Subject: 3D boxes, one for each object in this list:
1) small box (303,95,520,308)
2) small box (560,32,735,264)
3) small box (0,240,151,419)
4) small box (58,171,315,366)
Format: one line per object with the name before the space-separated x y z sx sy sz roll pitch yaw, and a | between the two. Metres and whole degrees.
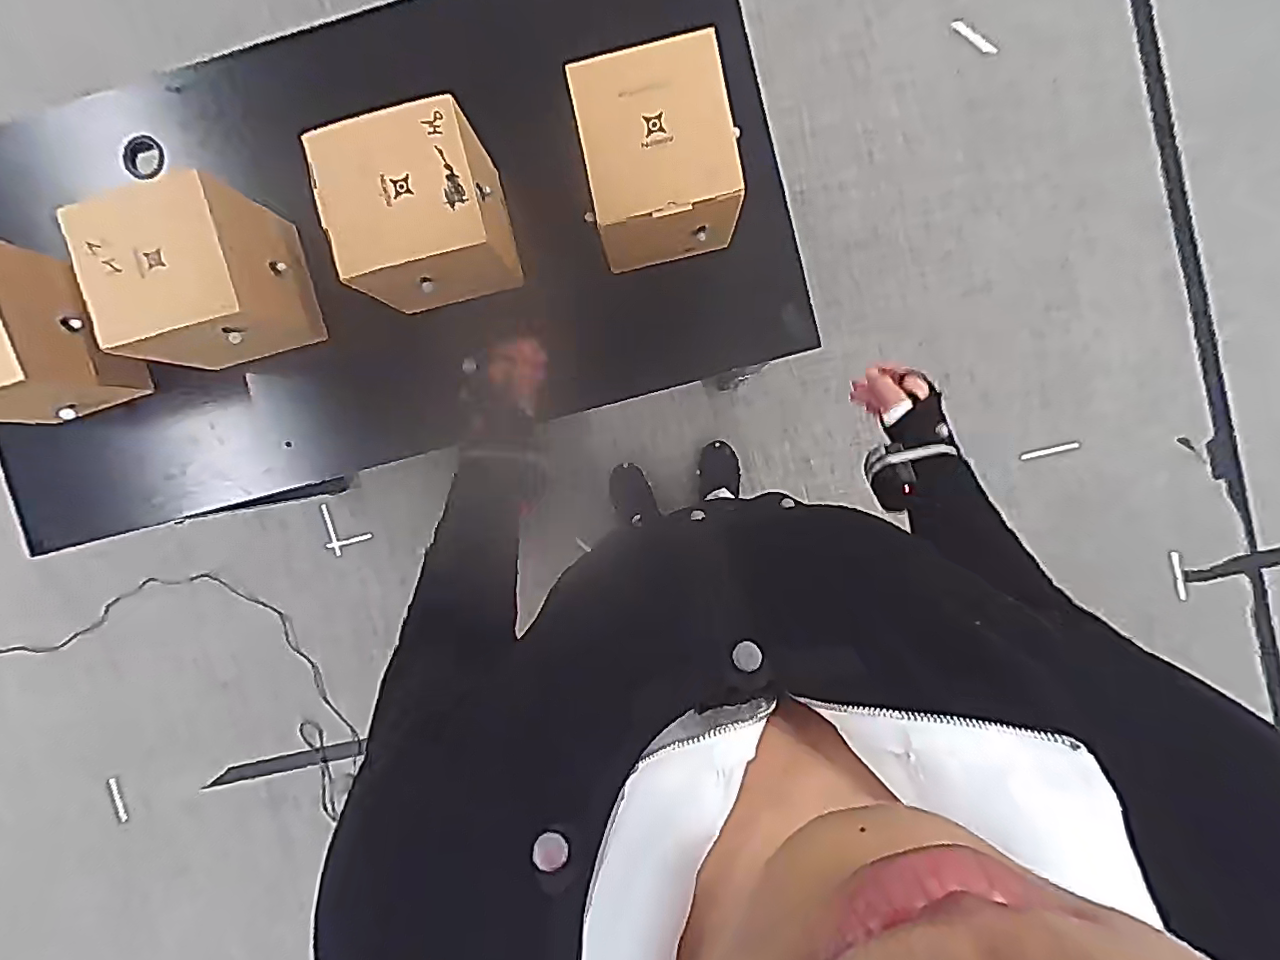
small box | -0.272 -0.331 0.681 0.179 0.176 0.168 -13 94 4
small box | 0.012 -0.385 0.668 0.168 0.176 0.179 -12 93 2
small box | -0.812 -0.186 0.709 0.168 0.176 0.179 -17 95 3
small box | -0.555 -0.255 0.695 0.179 0.176 0.168 -15 93 3
